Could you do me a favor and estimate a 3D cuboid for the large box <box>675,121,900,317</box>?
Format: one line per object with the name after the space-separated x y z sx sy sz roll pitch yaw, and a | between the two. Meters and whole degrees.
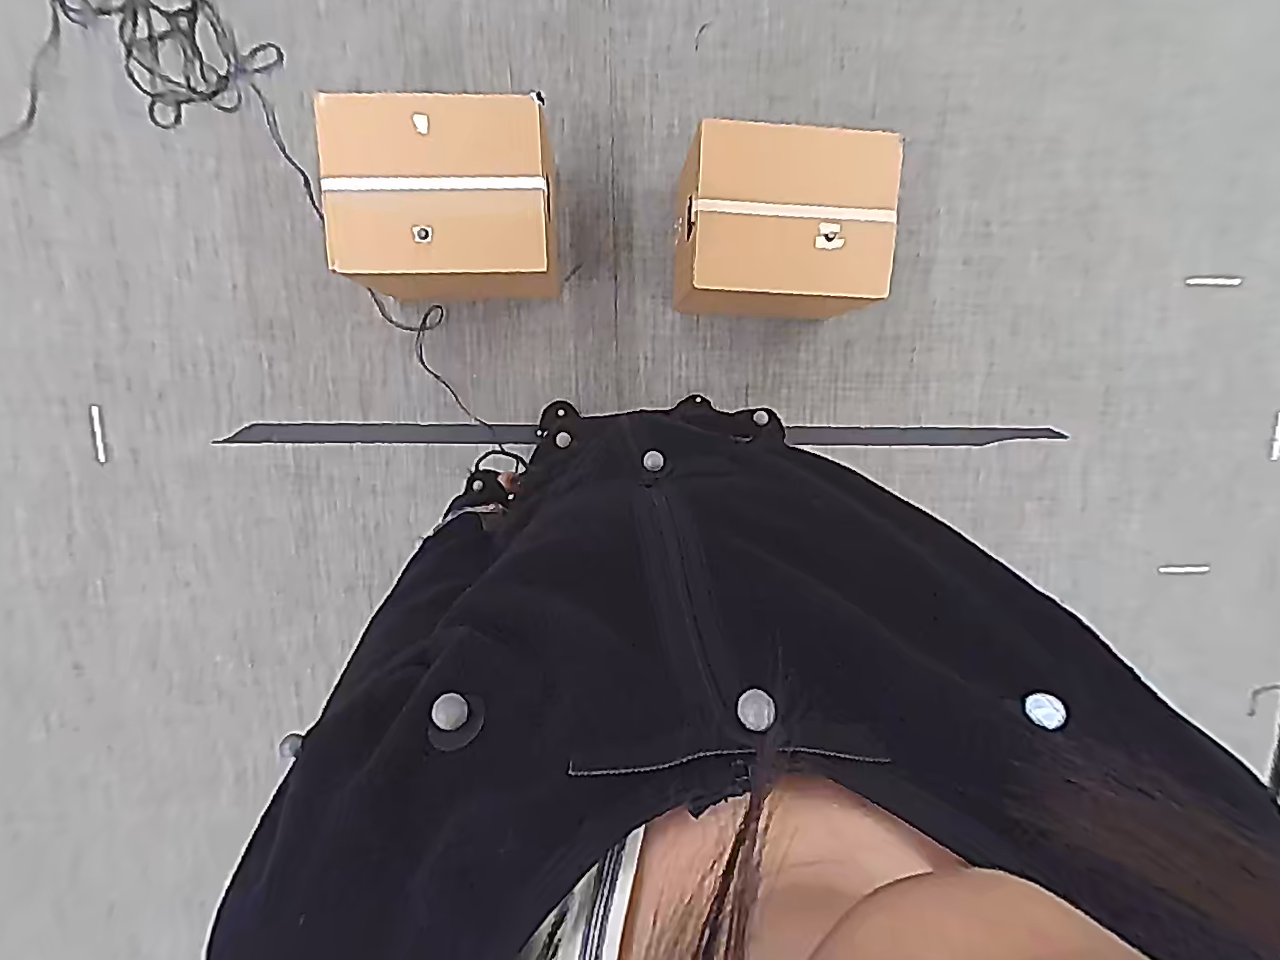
0.299 -0.554 1.217 0.408 0.320 0.320 2 99 -5 | large box
